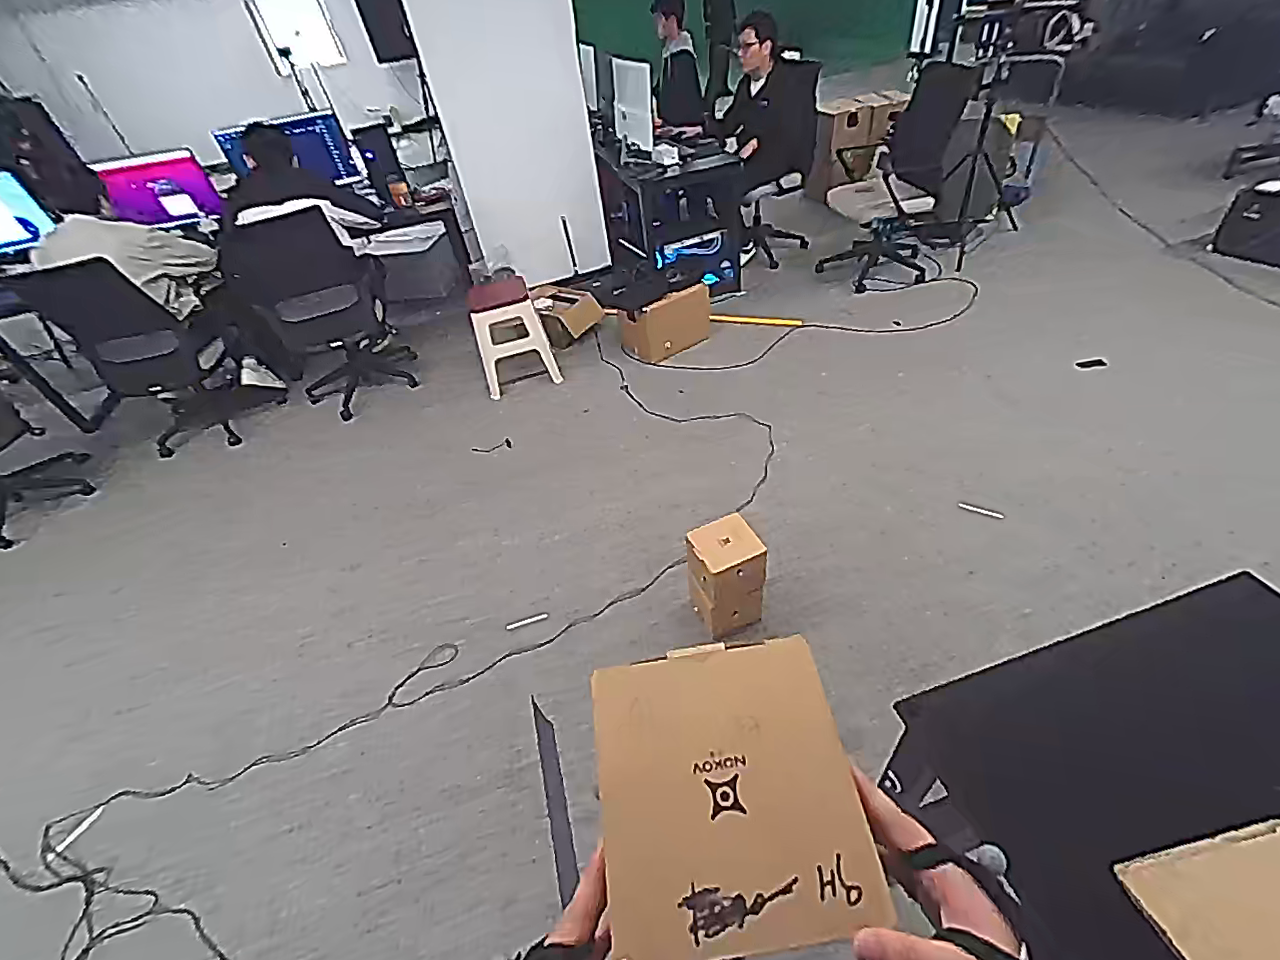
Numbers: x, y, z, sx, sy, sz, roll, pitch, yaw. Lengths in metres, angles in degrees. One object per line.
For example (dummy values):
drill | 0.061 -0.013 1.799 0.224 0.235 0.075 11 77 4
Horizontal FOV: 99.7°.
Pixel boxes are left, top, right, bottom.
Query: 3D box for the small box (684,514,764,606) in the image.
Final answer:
small box | 0.245 0.236 1.572 0.179 0.176 0.168 -21 45 -13

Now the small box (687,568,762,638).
small box | 0.260 0.357 1.680 0.179 0.176 0.168 -20 43 -10

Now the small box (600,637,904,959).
small box | 0.066 0.246 0.419 0.168 0.176 0.179 -9 53 0
